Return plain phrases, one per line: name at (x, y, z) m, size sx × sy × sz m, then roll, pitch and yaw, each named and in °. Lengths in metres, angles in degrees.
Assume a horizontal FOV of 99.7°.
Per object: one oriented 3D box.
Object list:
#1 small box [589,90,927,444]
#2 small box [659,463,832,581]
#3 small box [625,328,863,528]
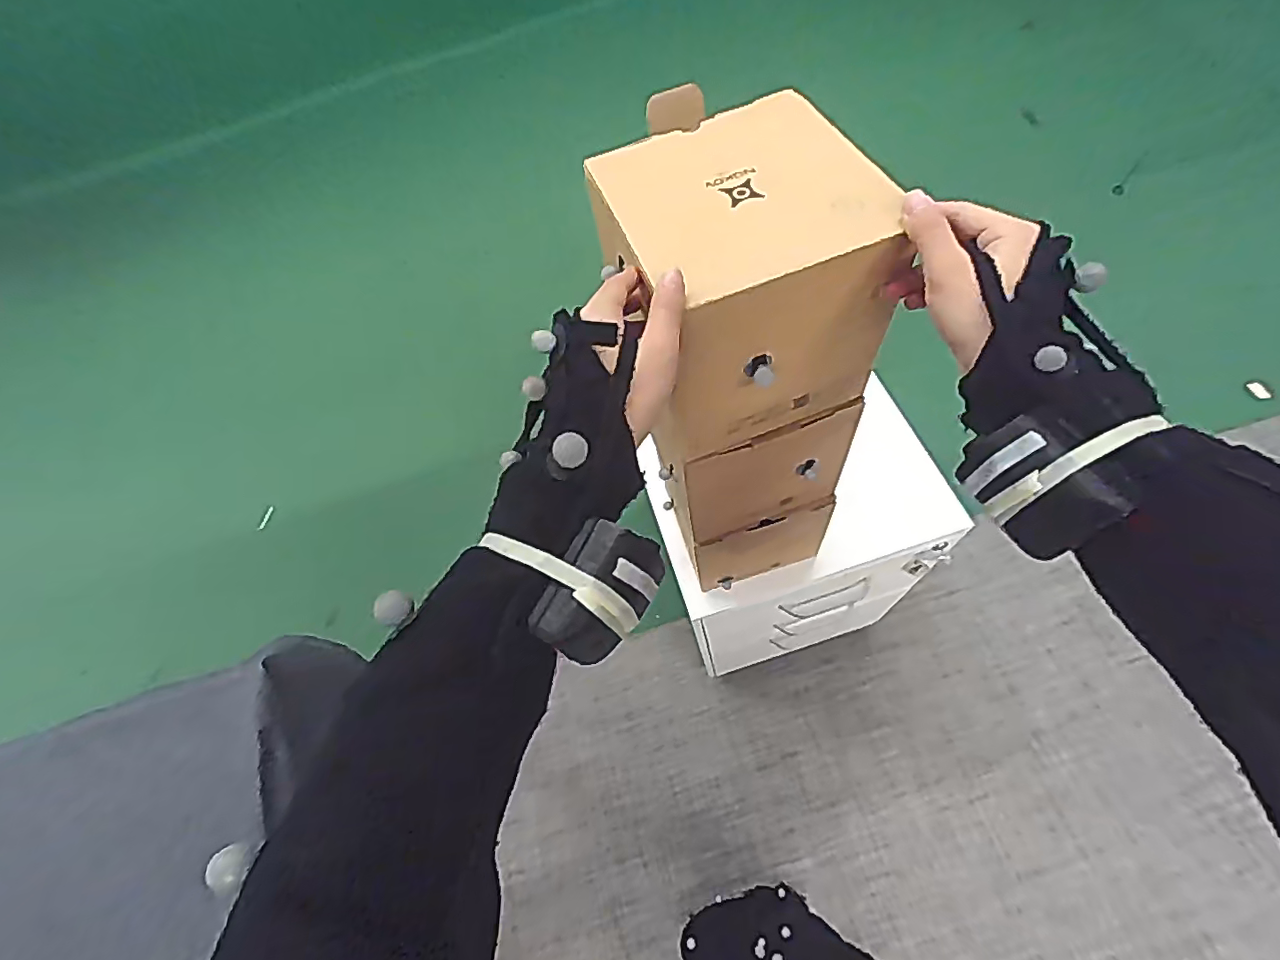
small box at (0.076, -0.149, 0.418) m, size 0.168 × 0.176 × 0.179 m, roll -20°, pitch 60°, yaw -3°
small box at (0.124, 0.015, 0.695) m, size 0.168 × 0.176 × 0.179 m, roll -17°, pitch 60°, yaw -1°
small box at (0.097, -0.068, 0.558) m, size 0.168 × 0.176 × 0.179 m, roll -19°, pitch 59°, yaw -3°
